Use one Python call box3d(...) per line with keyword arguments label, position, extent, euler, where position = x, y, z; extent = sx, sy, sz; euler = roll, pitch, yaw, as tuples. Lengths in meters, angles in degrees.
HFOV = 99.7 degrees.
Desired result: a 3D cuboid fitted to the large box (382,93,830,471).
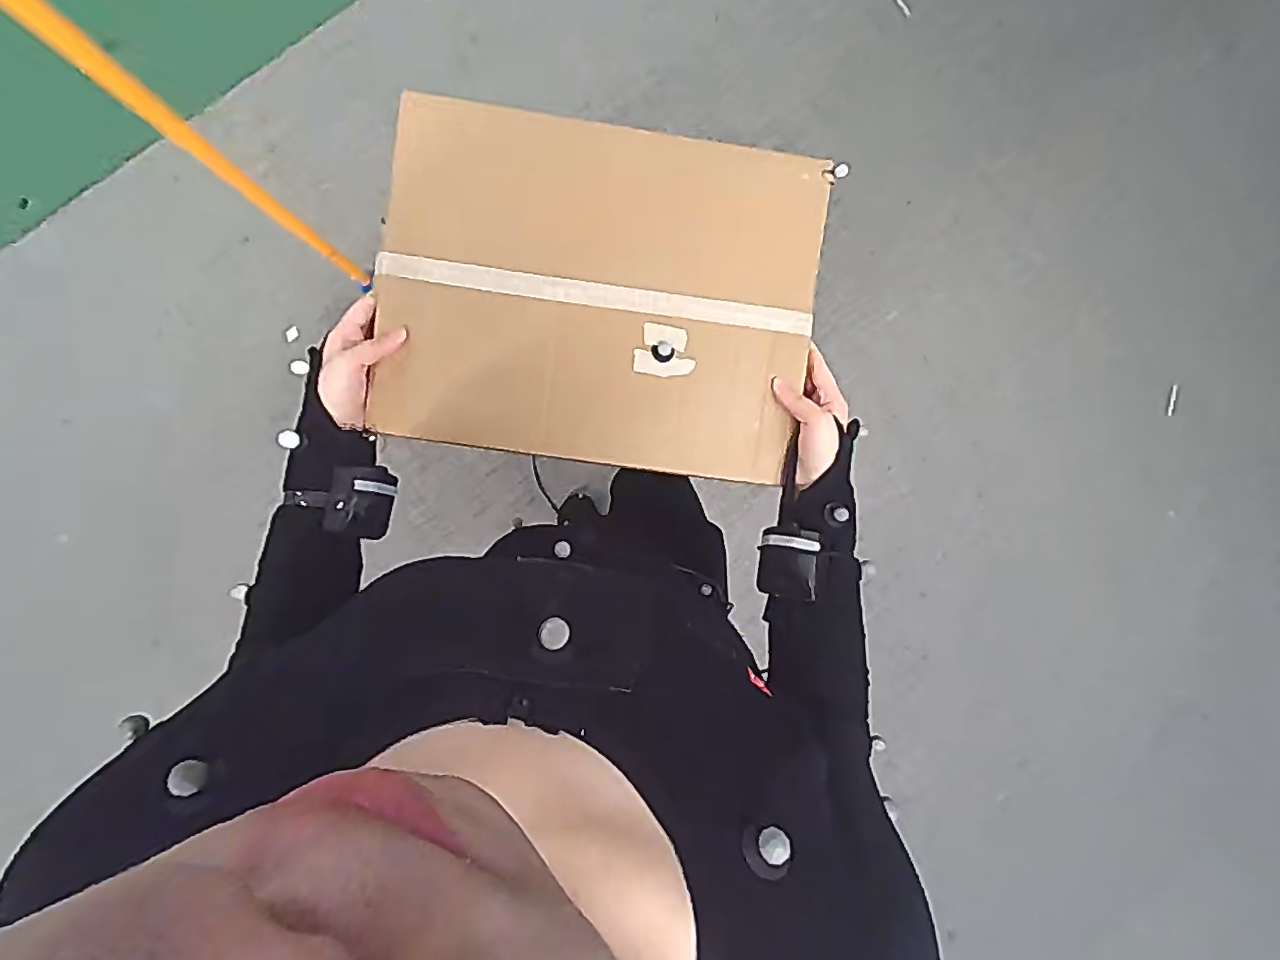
box3d(label="large box", position=(-0.041, -0.189, 0.663), extent=(0.408, 0.320, 0.320), euler=(8, 93, -4))
